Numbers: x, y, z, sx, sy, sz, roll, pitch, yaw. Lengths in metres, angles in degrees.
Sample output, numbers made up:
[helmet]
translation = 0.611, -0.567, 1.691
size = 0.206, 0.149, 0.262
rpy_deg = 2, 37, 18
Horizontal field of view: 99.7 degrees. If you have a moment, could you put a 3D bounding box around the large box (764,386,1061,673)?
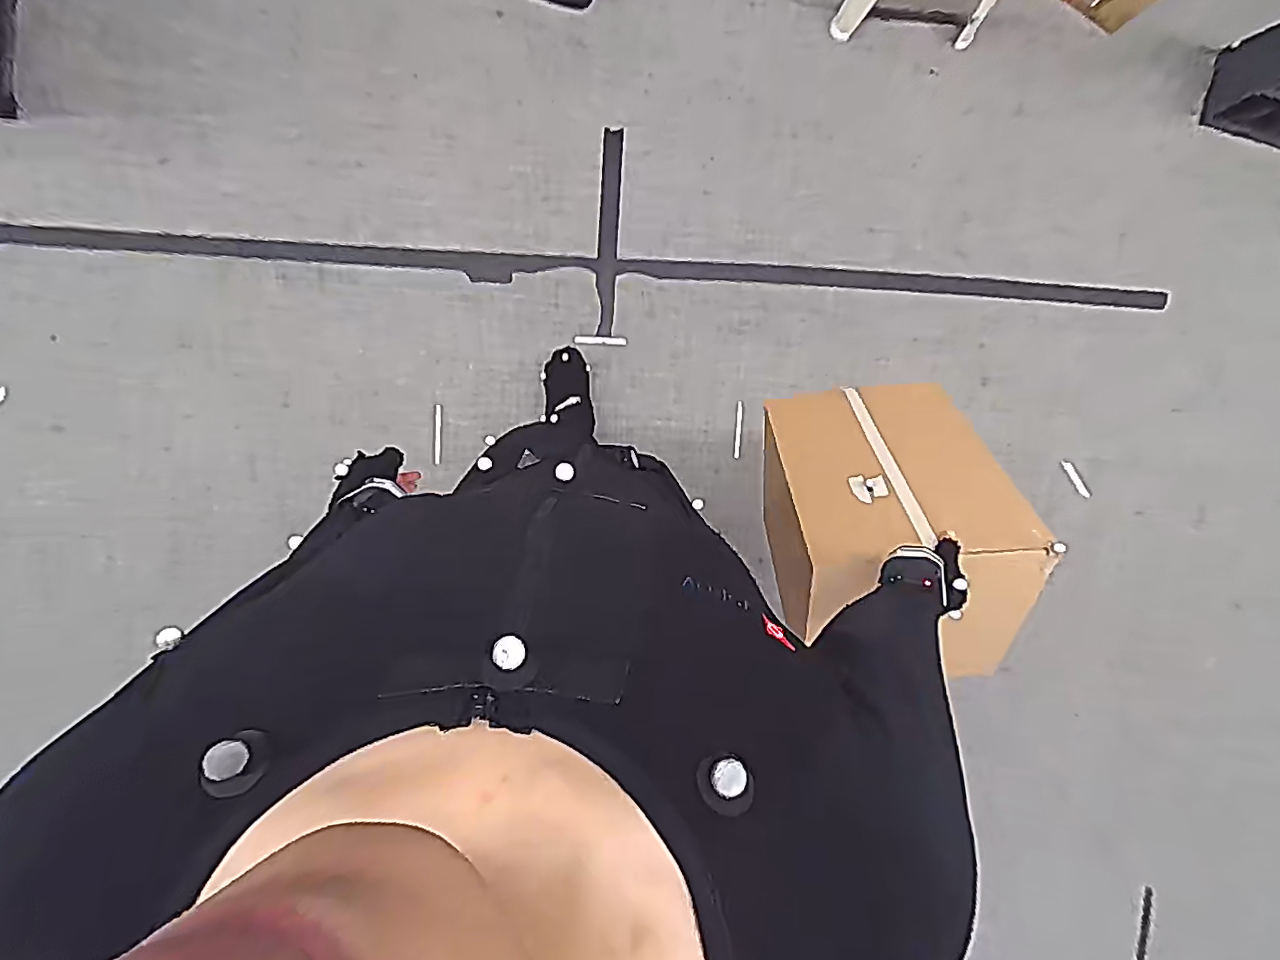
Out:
[large box]
translation = 0.414, 0.079, 0.960
size = 0.320, 0.408, 0.320
rpy_deg = -5, 132, 5
